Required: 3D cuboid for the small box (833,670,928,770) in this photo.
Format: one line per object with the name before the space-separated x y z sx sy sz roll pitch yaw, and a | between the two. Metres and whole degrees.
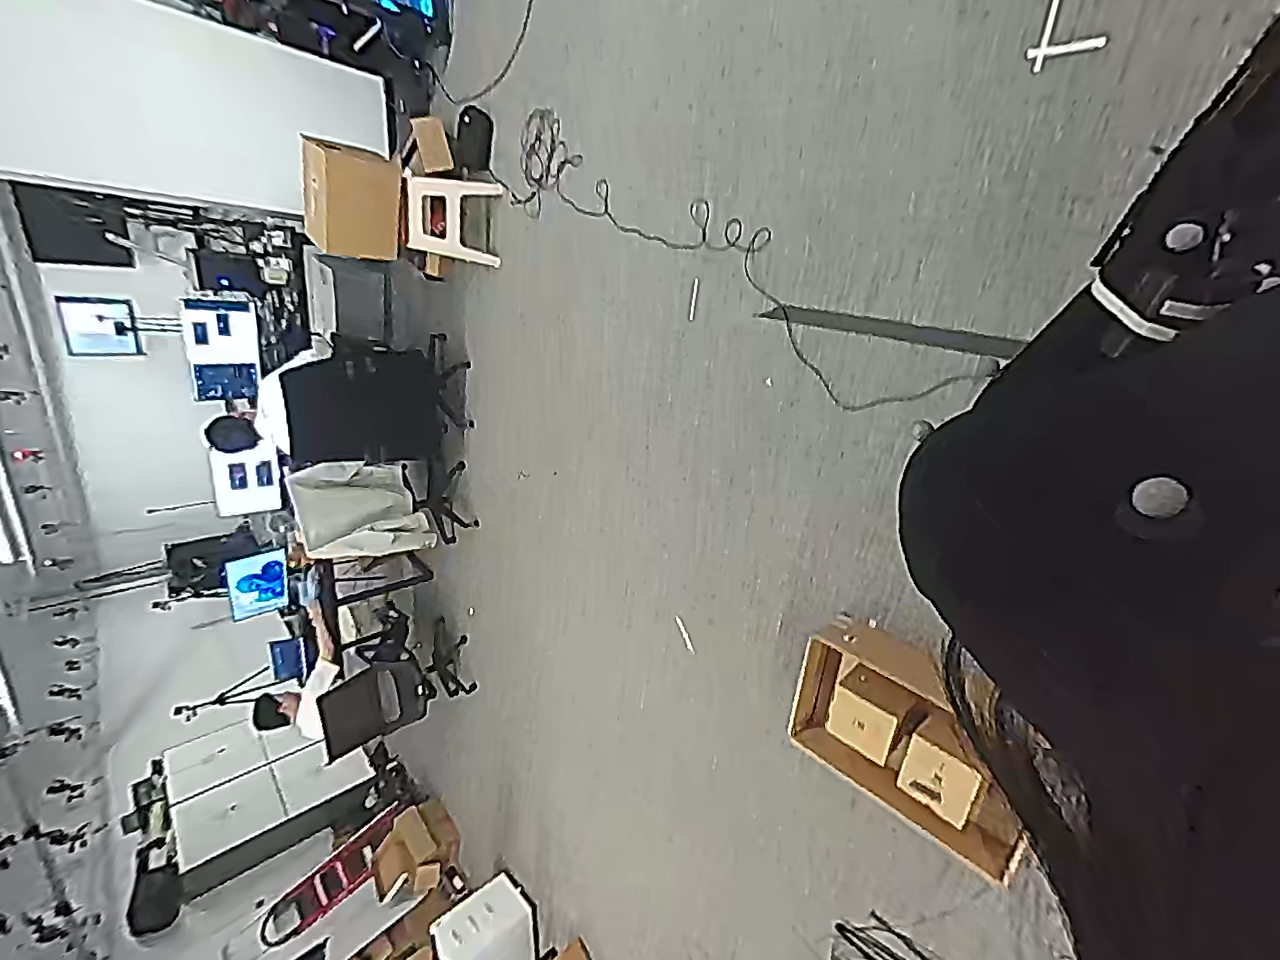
small box | 0.681 0.665 1.532 0.179 0.176 0.168 23 116 41
